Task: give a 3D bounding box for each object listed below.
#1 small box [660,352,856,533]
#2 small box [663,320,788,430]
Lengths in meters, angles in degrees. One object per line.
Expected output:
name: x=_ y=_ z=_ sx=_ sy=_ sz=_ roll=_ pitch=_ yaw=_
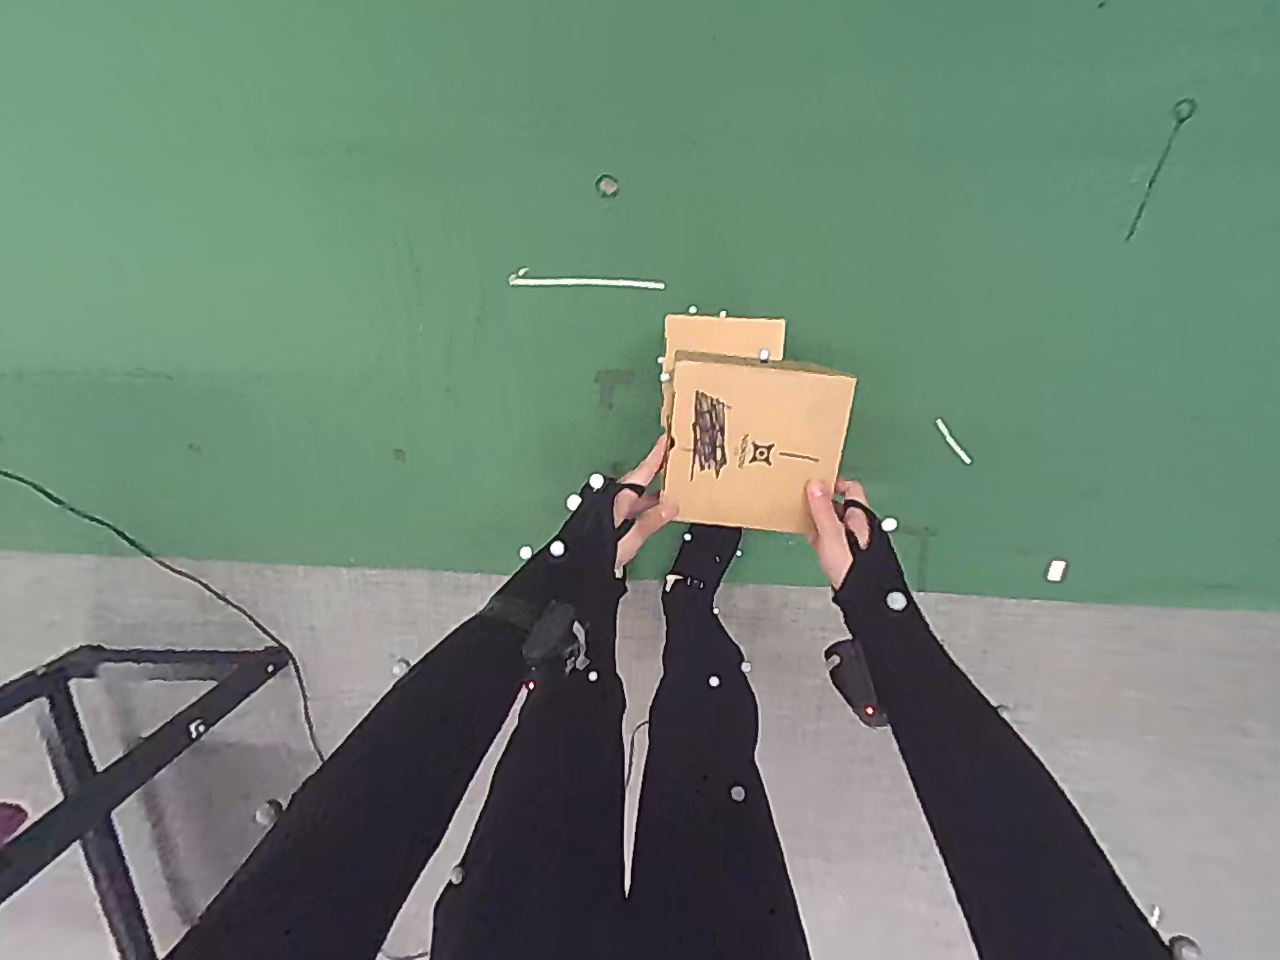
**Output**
small box: x=0.119 y=-0.054 z=0.621 sx=0.179 sy=0.176 sz=0.168 roll=6 pitch=107 yaw=1
small box: x=0.130 y=-0.171 z=0.880 sx=0.179 sy=0.176 sz=0.168 roll=3 pitch=105 yaw=4
